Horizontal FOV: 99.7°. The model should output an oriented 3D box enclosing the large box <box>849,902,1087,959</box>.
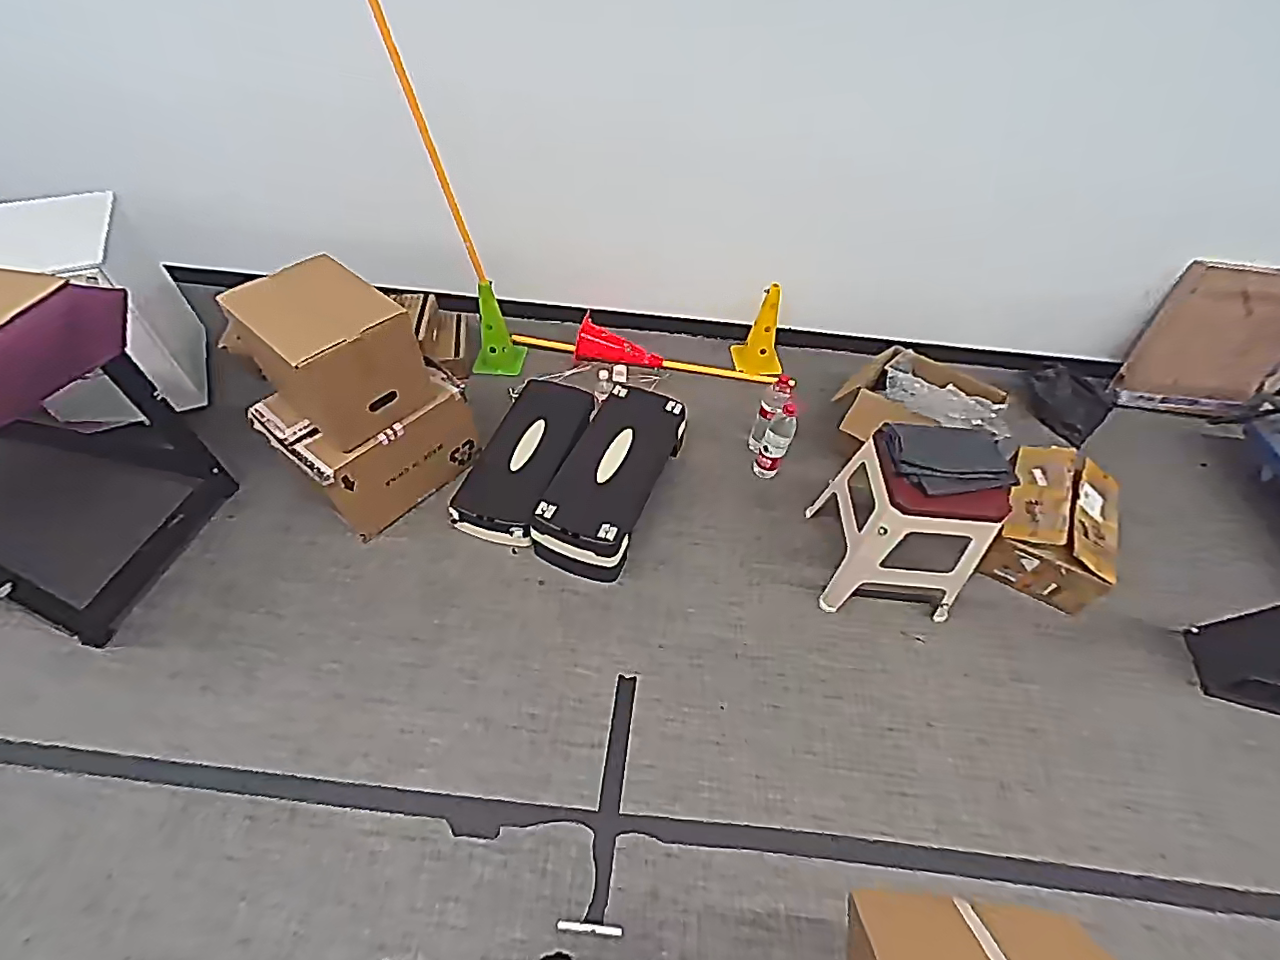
[{"bbox_3d":[0.429,0.778,0.587,0.320,0.408,0.320,4,86,7],"label":"large box"}]
